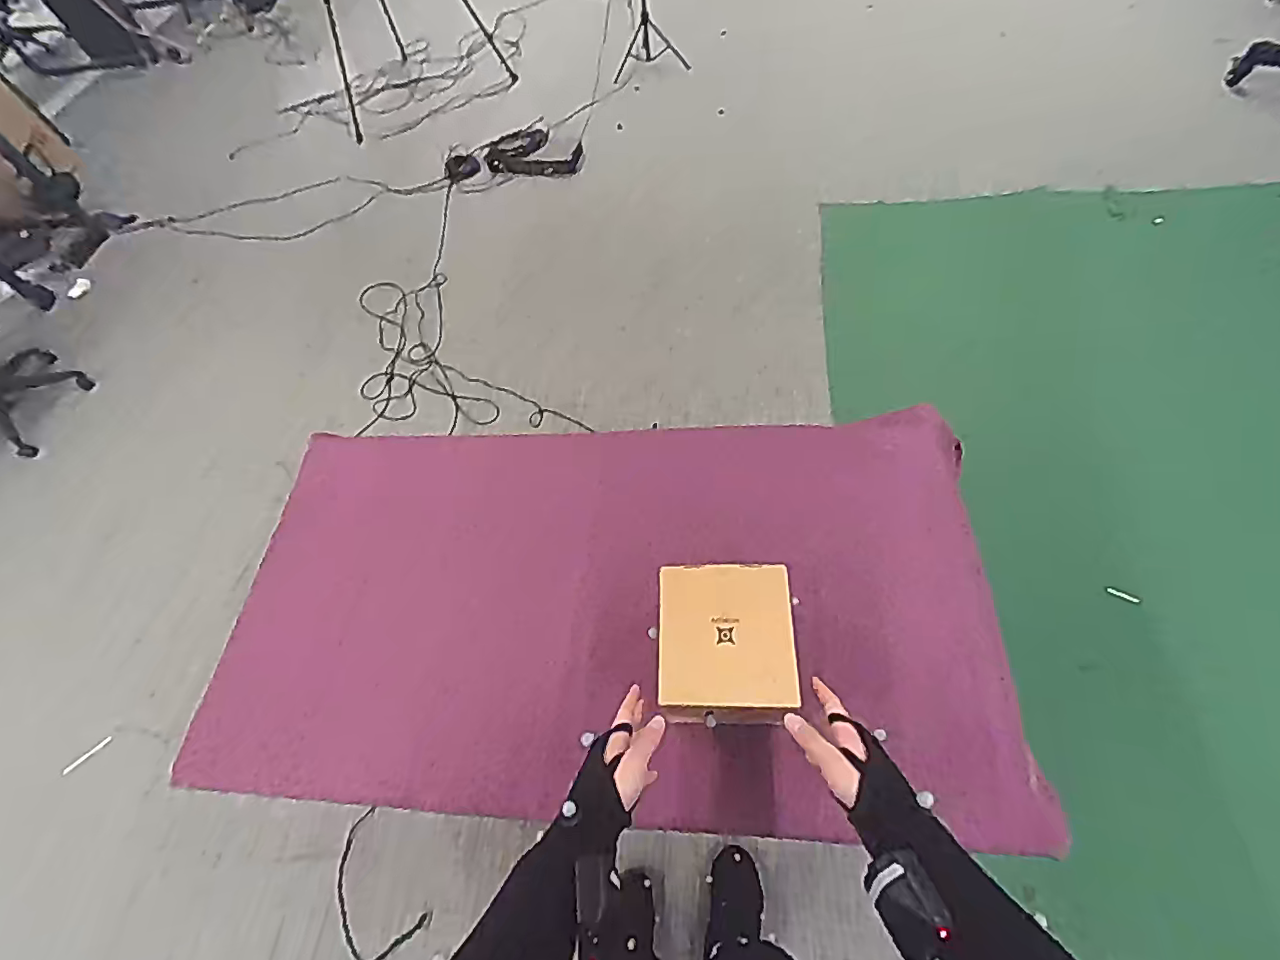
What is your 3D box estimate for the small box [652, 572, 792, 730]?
[{"bbox_3d":[0.109,0.237,0.735,0.168,0.176,0.179,-2,58,7],"label":"small box"}]
